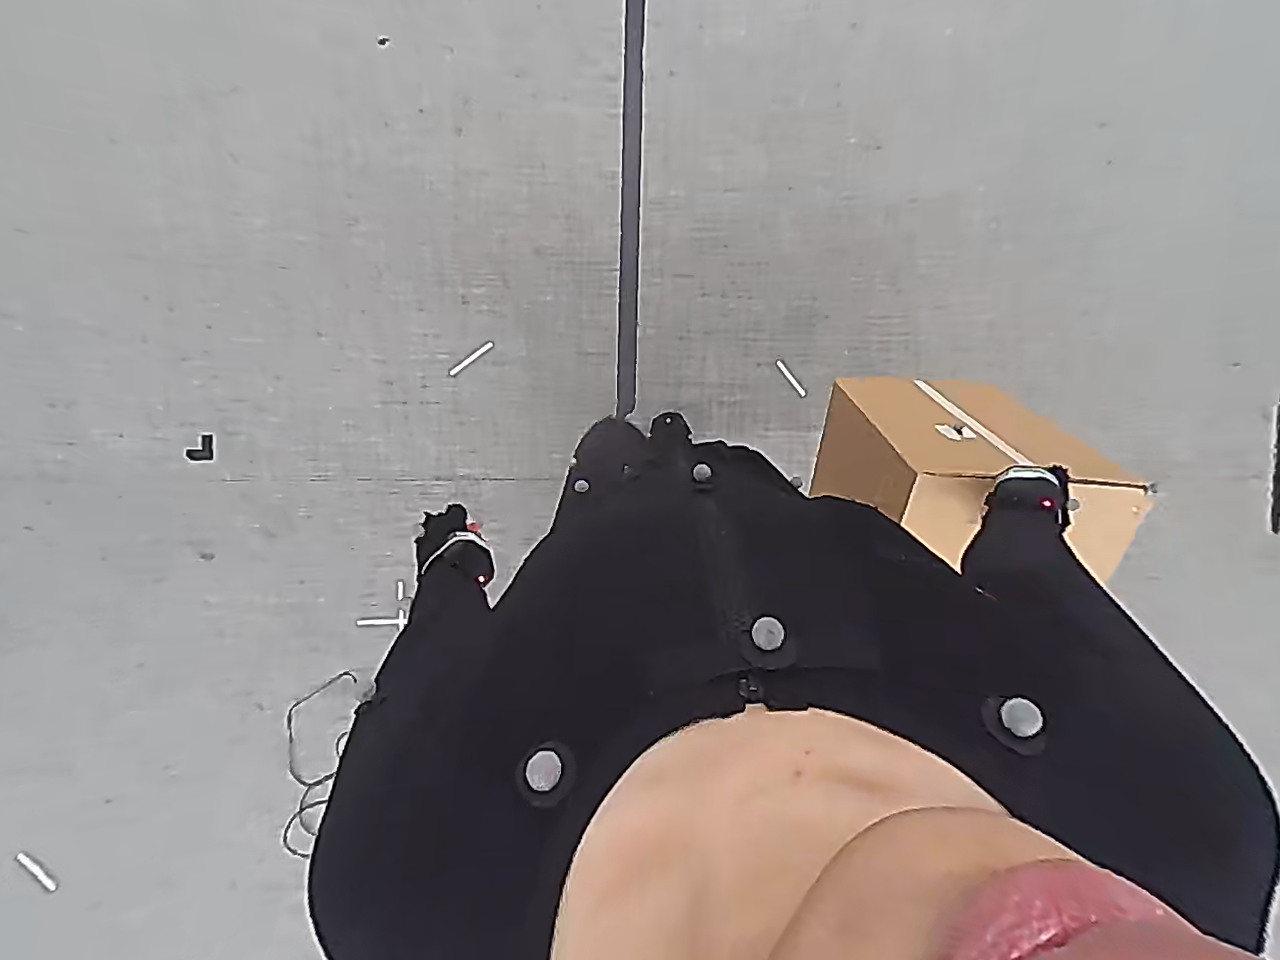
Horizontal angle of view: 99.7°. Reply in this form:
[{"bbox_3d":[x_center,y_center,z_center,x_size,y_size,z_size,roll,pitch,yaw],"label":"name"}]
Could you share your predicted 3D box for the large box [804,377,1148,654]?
[{"bbox_3d":[0.516,0.040,0.956,0.320,0.408,0.320,4,119,1],"label":"large box"}]
